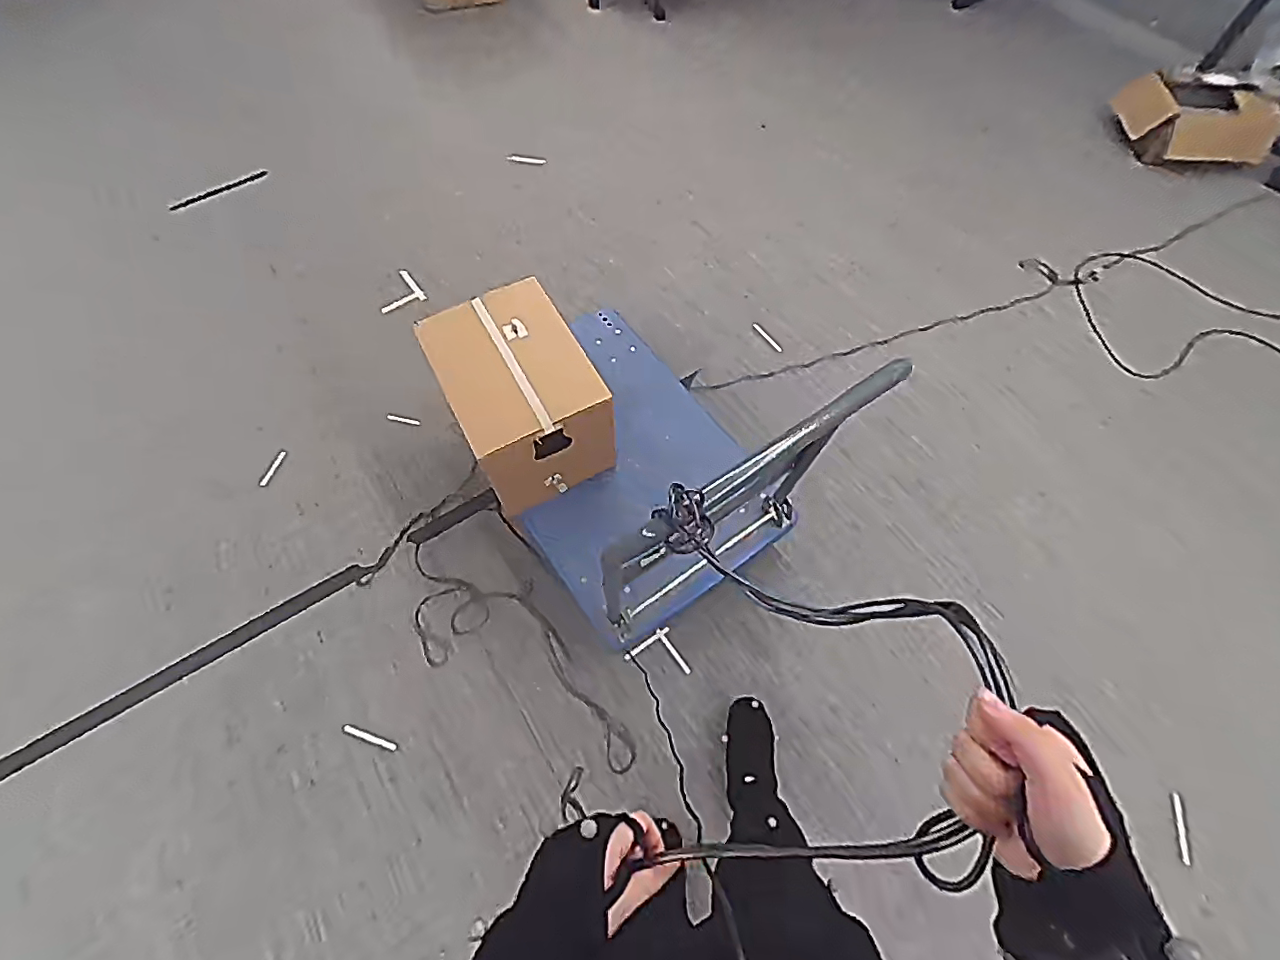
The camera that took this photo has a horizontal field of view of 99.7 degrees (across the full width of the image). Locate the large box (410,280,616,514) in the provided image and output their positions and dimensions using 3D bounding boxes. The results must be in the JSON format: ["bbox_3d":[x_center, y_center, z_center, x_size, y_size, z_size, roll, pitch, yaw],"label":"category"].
[{"bbox_3d":[-0.291,-0.194,1.317,0.320,0.320,0.408,-27,67,-14],"label":"large box"}]
